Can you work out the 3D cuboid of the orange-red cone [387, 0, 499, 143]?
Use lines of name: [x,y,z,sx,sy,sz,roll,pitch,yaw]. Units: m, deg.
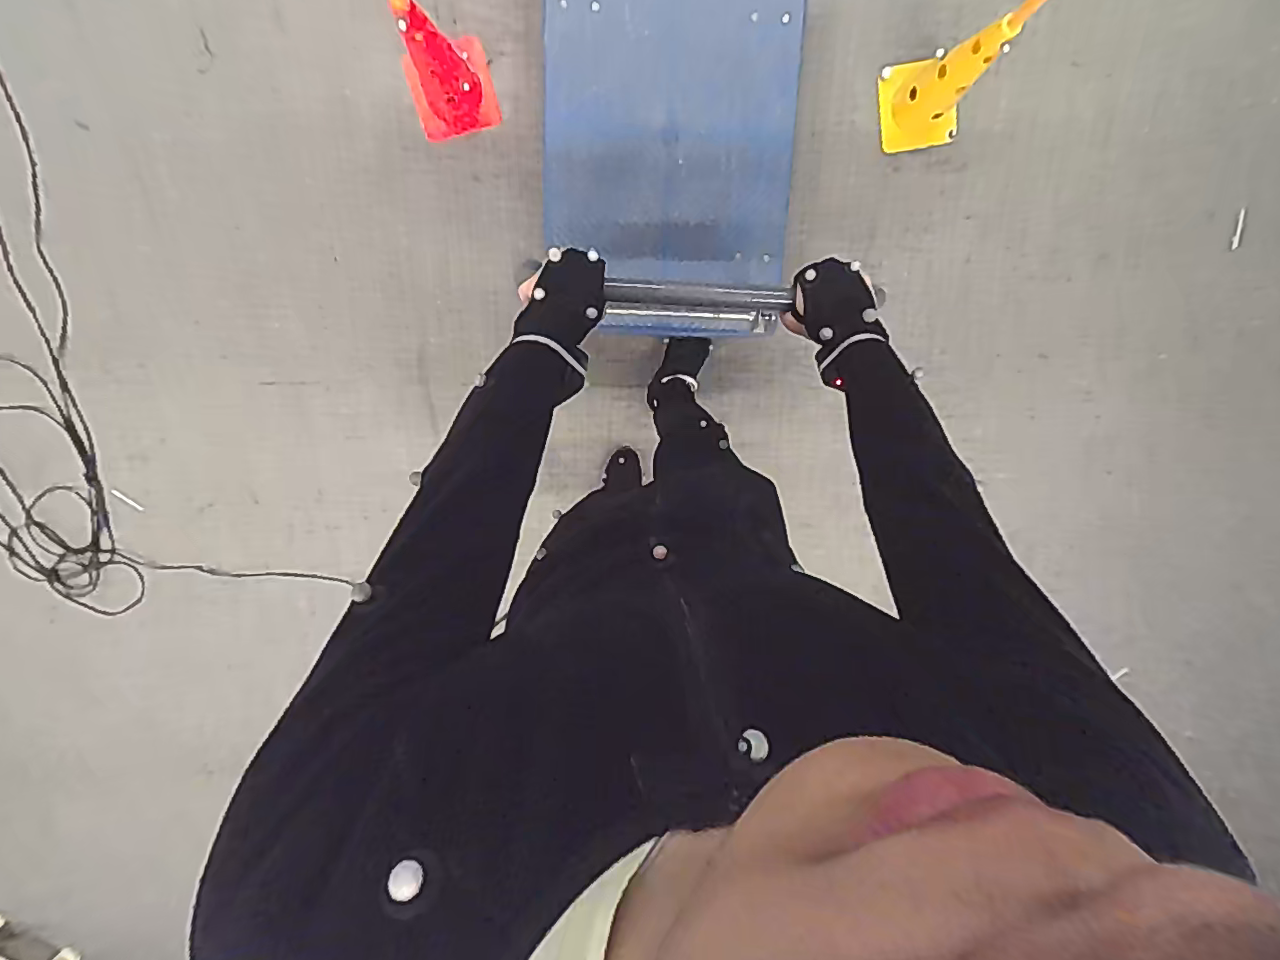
orange-red cone: [-0.461,-0.926,1.180,0.199,0.360,0.198,-14,102,2]
